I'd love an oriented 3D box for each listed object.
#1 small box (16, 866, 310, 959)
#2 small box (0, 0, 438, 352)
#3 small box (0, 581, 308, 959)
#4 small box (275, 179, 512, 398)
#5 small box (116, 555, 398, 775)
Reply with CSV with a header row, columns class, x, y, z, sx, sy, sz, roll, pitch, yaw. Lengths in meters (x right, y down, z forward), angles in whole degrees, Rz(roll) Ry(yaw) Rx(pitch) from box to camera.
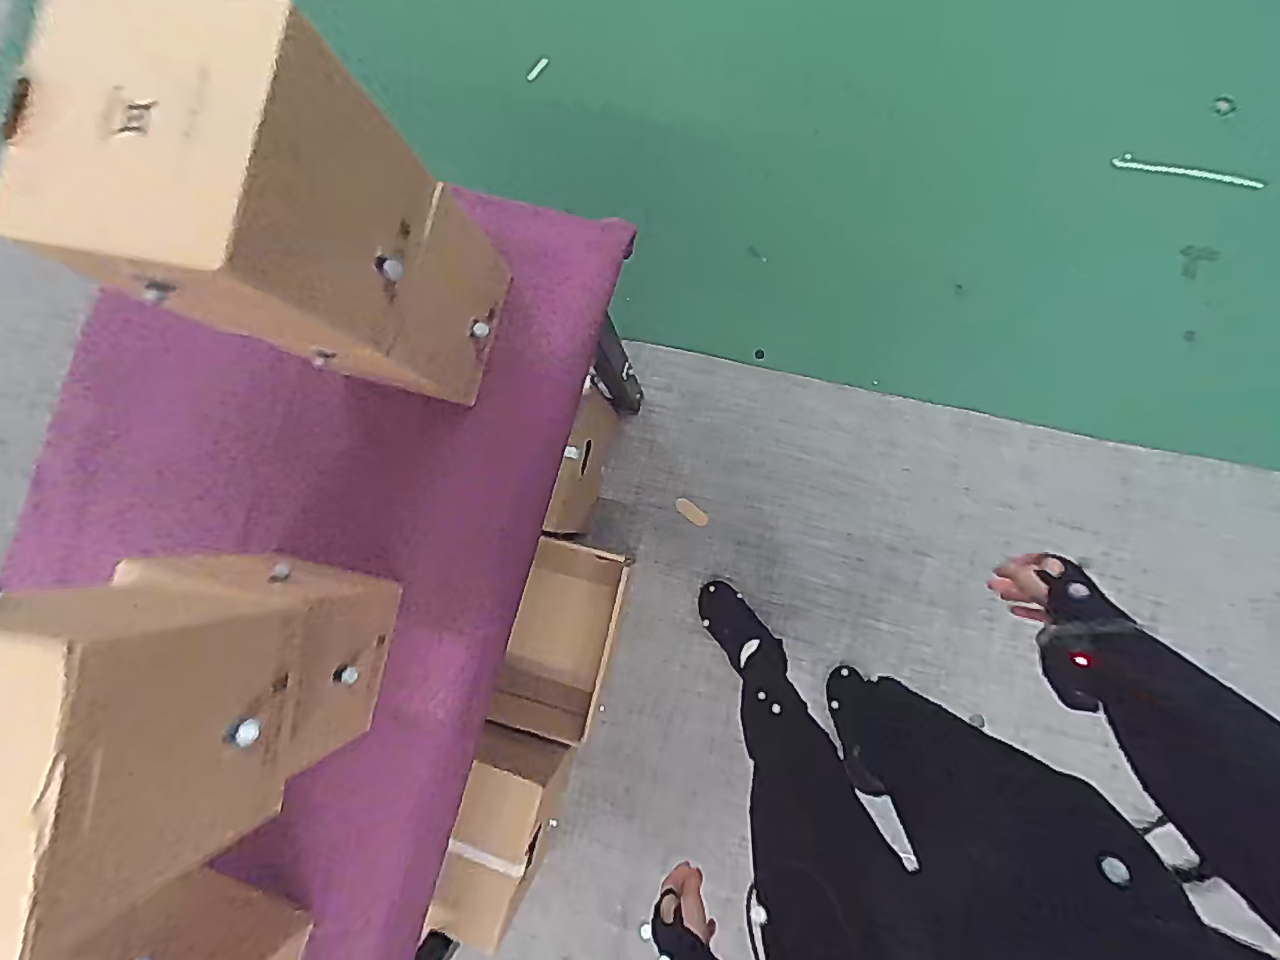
class,x,y,z,sx,sy,sz,roll,pitch,yaw
small box,-0.466,0.512,0.510,0.179,0.176,0.168,16,85,8
small box,-0.285,-0.207,0.398,0.179,0.176,0.168,12,87,9
small box,-0.373,0.163,0.367,0.179,0.176,0.168,4,85,8
small box,-0.260,-0.195,0.559,0.179,0.176,0.168,14,87,9
small box,-0.374,0.170,0.534,0.179,0.176,0.168,10,85,8
